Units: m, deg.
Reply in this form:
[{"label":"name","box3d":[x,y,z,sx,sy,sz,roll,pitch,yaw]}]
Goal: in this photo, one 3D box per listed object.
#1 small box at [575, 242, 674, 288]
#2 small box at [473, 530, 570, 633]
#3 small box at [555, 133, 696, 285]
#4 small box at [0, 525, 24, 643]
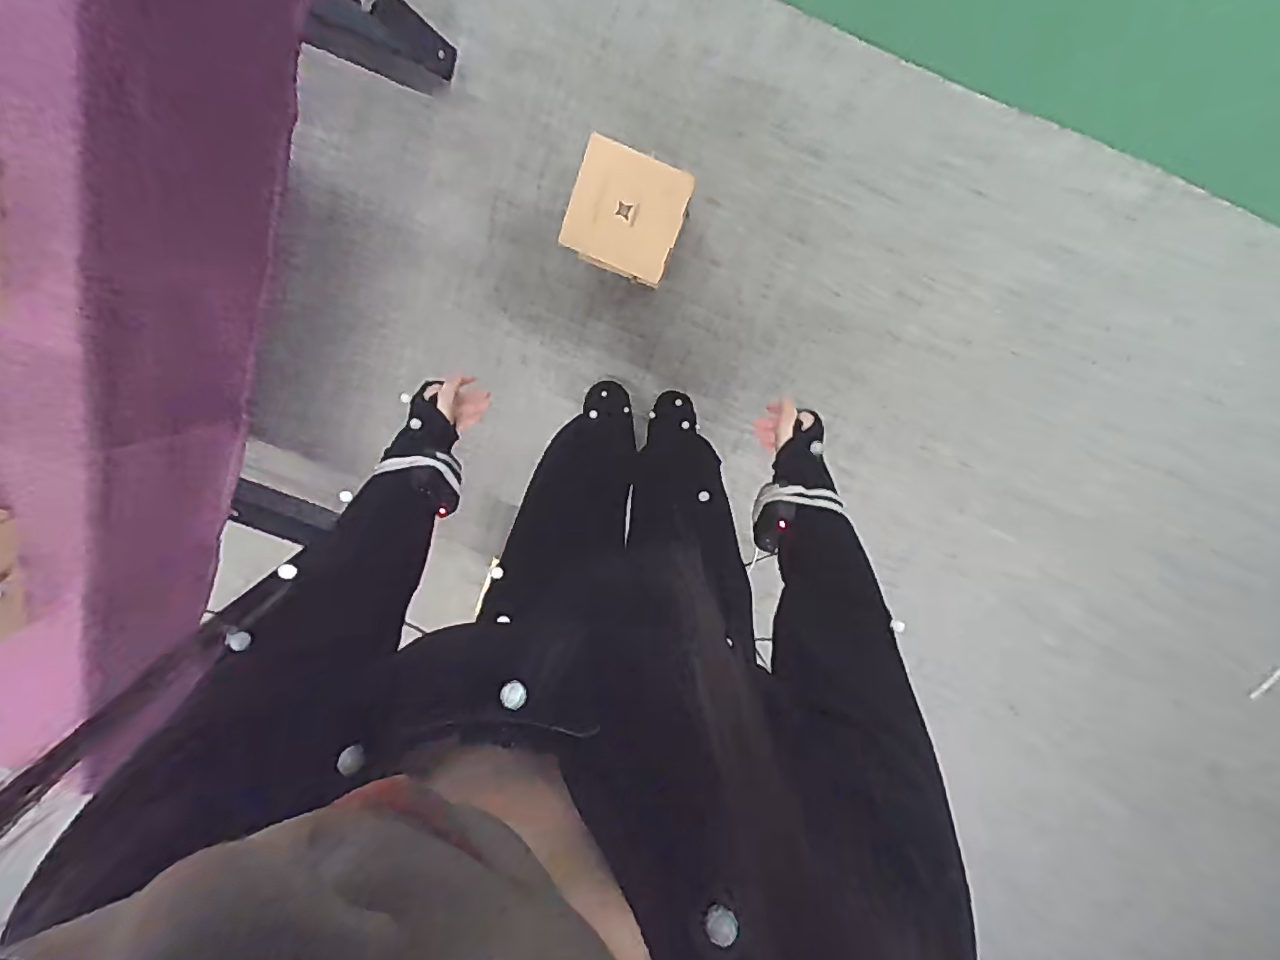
[{"label":"small box","box3d":[-0.013,-0.496,1.066,0.168,0.176,0.179,19,112,-5]},{"label":"small box","box3d":[-0.295,0.252,1.380,0.179,0.176,0.168,23,111,-4]},{"label":"small box","box3d":[-0.021,-0.444,0.911,0.179,0.176,0.168,22,110,-5]},{"label":"small box","box3d":[-0.828,0.118,0.574,0.168,0.176,0.179,20,111,-4]}]
